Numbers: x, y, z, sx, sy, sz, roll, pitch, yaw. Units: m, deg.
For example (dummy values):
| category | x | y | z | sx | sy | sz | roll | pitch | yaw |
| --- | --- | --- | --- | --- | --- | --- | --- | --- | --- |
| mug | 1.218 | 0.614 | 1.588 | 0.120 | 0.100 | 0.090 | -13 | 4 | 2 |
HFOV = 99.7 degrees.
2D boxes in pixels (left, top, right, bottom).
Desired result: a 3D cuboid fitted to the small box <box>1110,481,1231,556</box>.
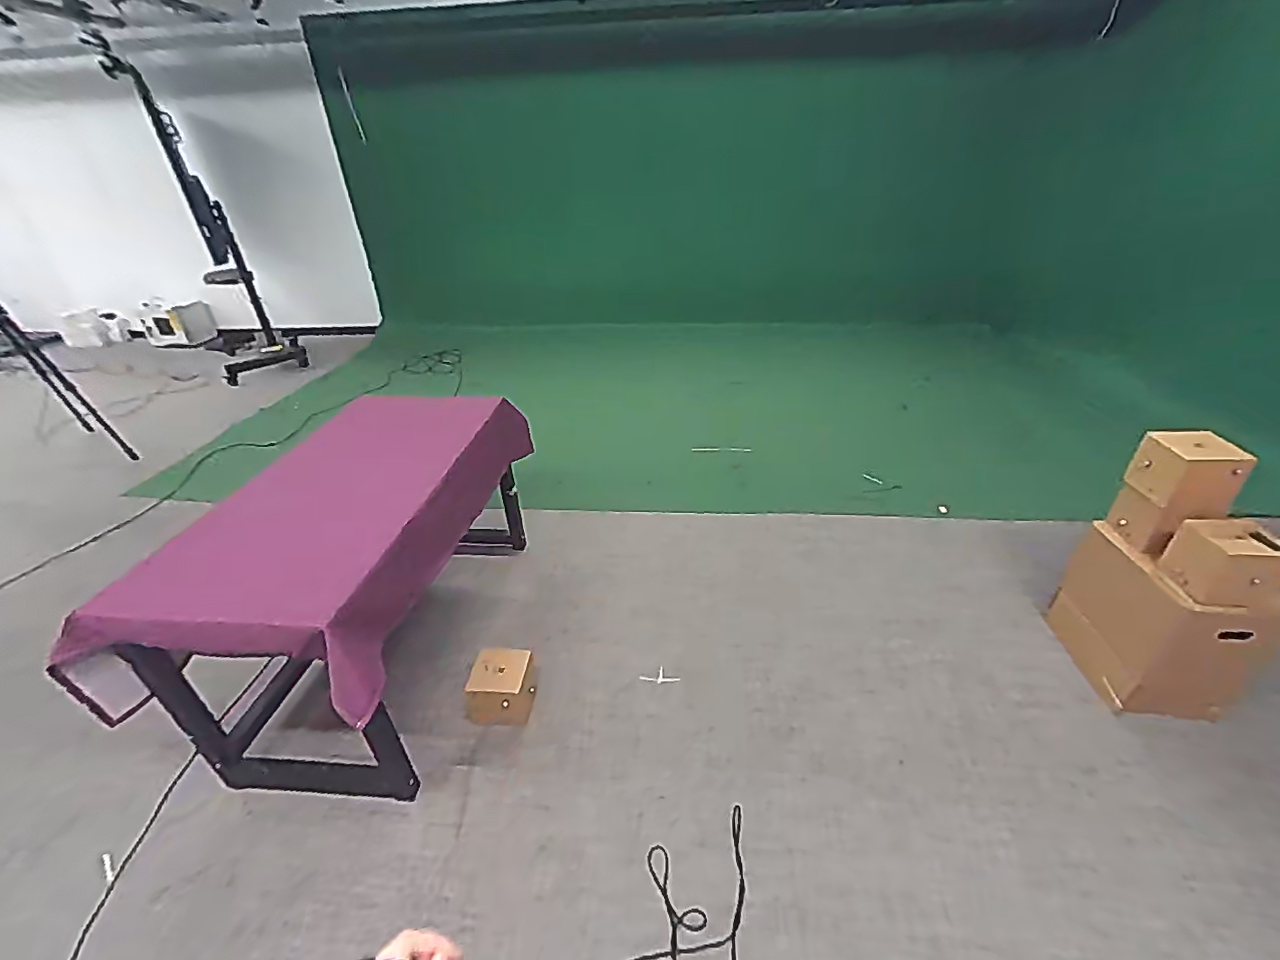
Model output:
| category | x | y | z | sx | sy | sz | roll | pitch | yaw |
| --- | --- | --- | --- | --- | --- | --- | --- | --- | --- |
| small box | 1.601 | 0.118 | 1.646 | 0.179 | 0.176 | 0.168 | 0 | 33 | 7 |

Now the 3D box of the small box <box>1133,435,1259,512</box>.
| category | x | y | z | sx | sy | sz | roll | pitch | yaw |
| --- | --- | --- | --- | --- | --- | --- | --- | --- | --- |
| small box | 1.582 | -0.019 | 1.560 | 0.179 | 0.176 | 0.168 | 1 | 33 | 6 |
